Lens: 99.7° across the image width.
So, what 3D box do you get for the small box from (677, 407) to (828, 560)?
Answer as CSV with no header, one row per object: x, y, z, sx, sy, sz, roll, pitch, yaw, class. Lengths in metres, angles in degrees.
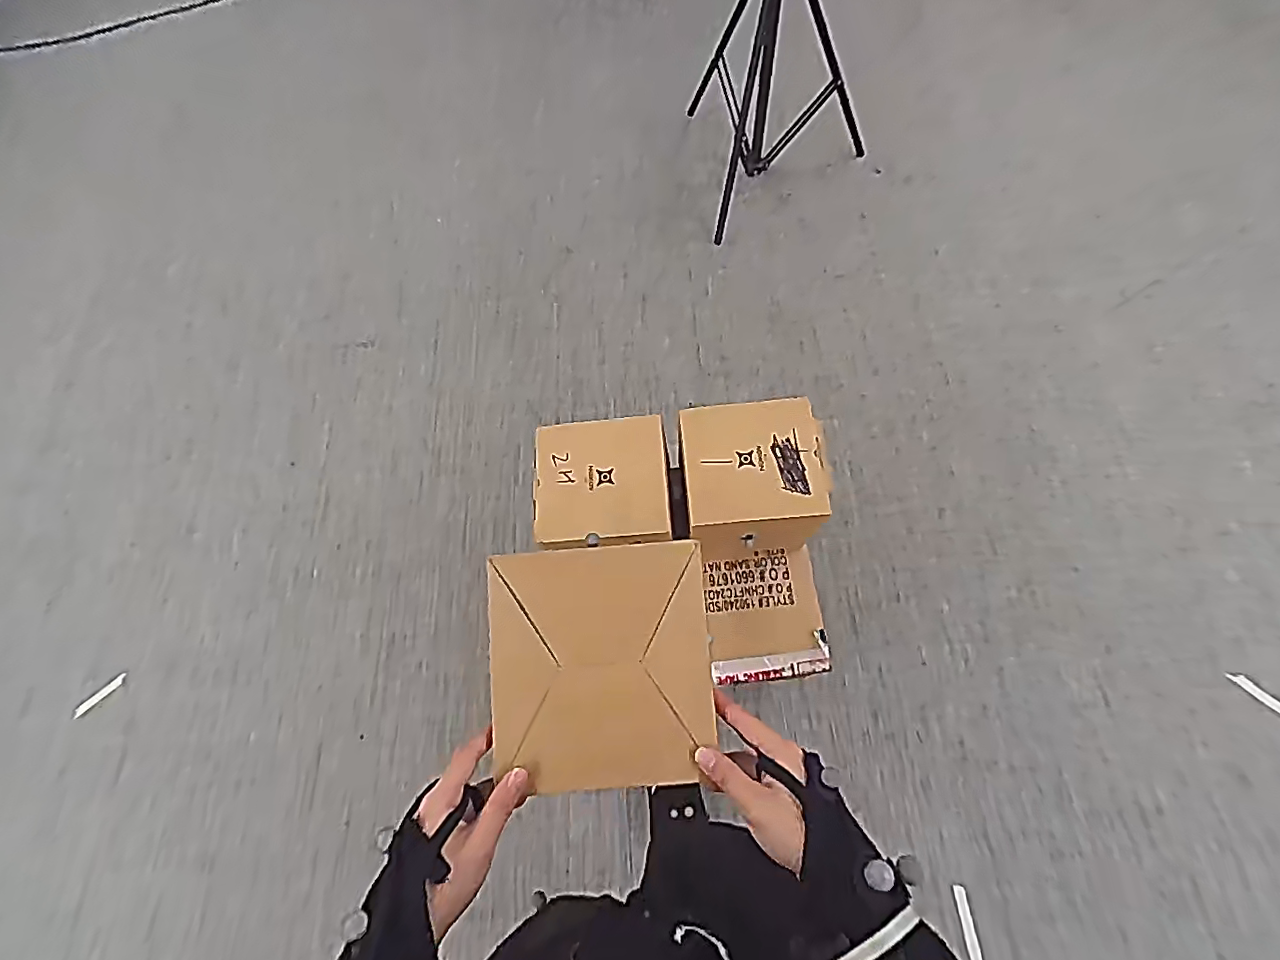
0.147,0.013,0.773,0.179,0.176,0.168,-5,69,2,small box

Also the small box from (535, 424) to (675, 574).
-0.042,0.036,0.781,0.179,0.176,0.168,-6,68,6,small box
